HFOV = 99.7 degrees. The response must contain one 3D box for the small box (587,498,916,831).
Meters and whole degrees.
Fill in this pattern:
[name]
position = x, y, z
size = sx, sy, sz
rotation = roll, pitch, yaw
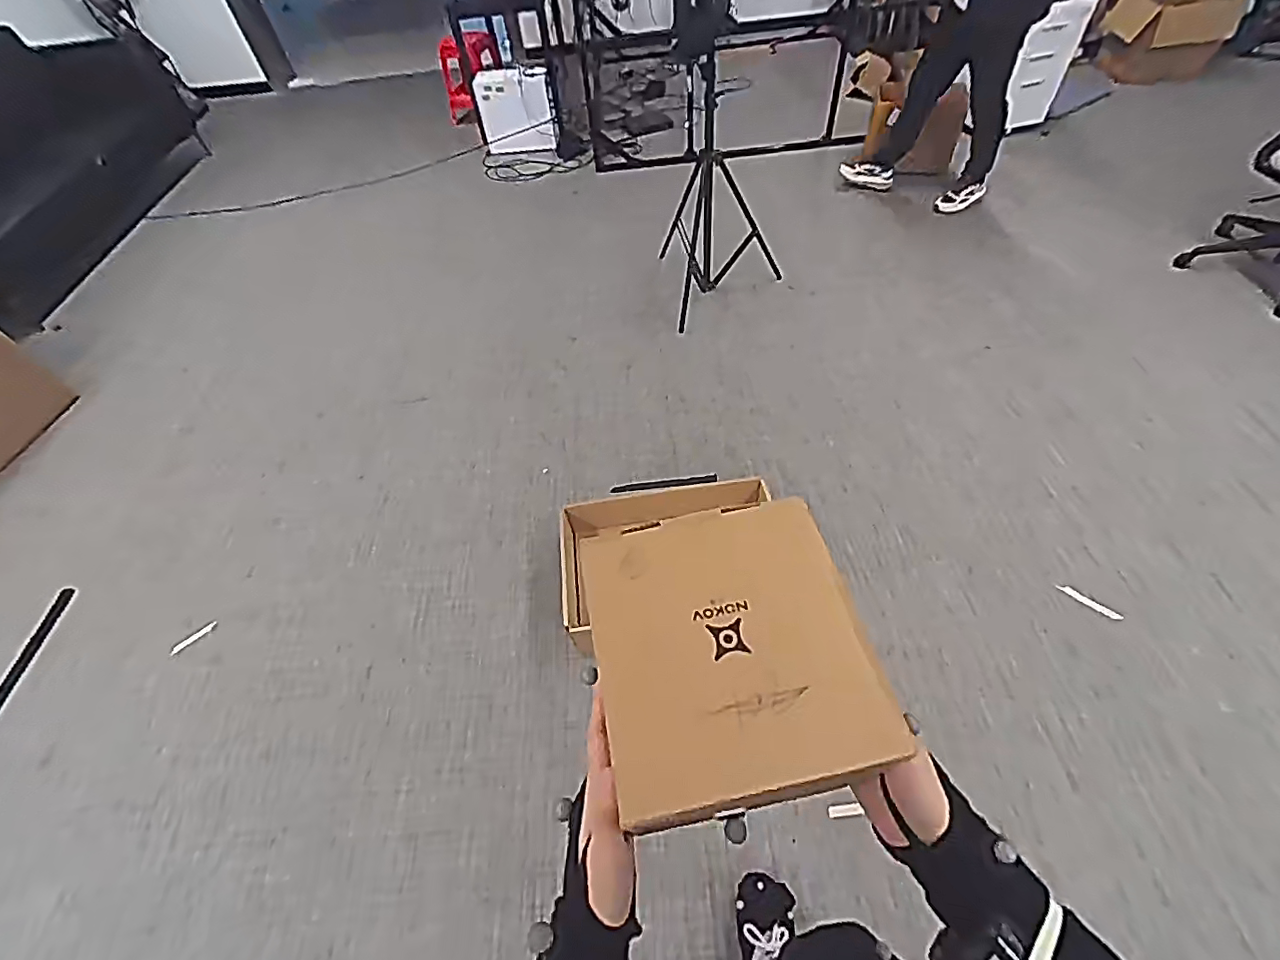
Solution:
[small box]
position = 0.060, 0.142, 0.404
size = 0.168, 0.176, 0.179
rotation = -12, 56, -4
